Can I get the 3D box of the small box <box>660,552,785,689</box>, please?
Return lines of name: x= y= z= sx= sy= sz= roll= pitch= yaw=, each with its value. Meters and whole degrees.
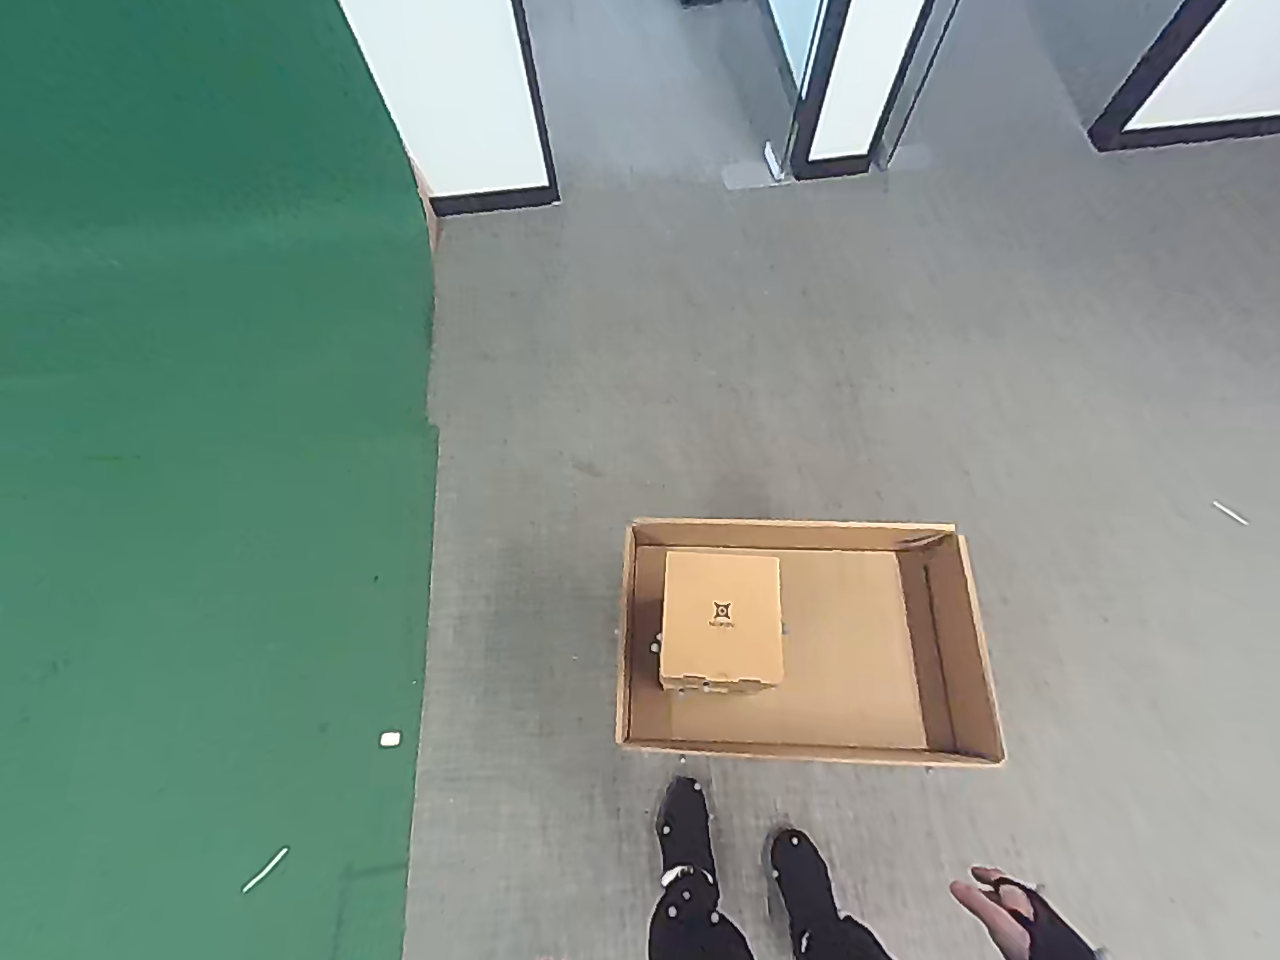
small box: x=0.118 y=0.219 z=0.822 sx=0.168 sy=0.176 sz=0.179 roll=3 pitch=69 yaw=2
